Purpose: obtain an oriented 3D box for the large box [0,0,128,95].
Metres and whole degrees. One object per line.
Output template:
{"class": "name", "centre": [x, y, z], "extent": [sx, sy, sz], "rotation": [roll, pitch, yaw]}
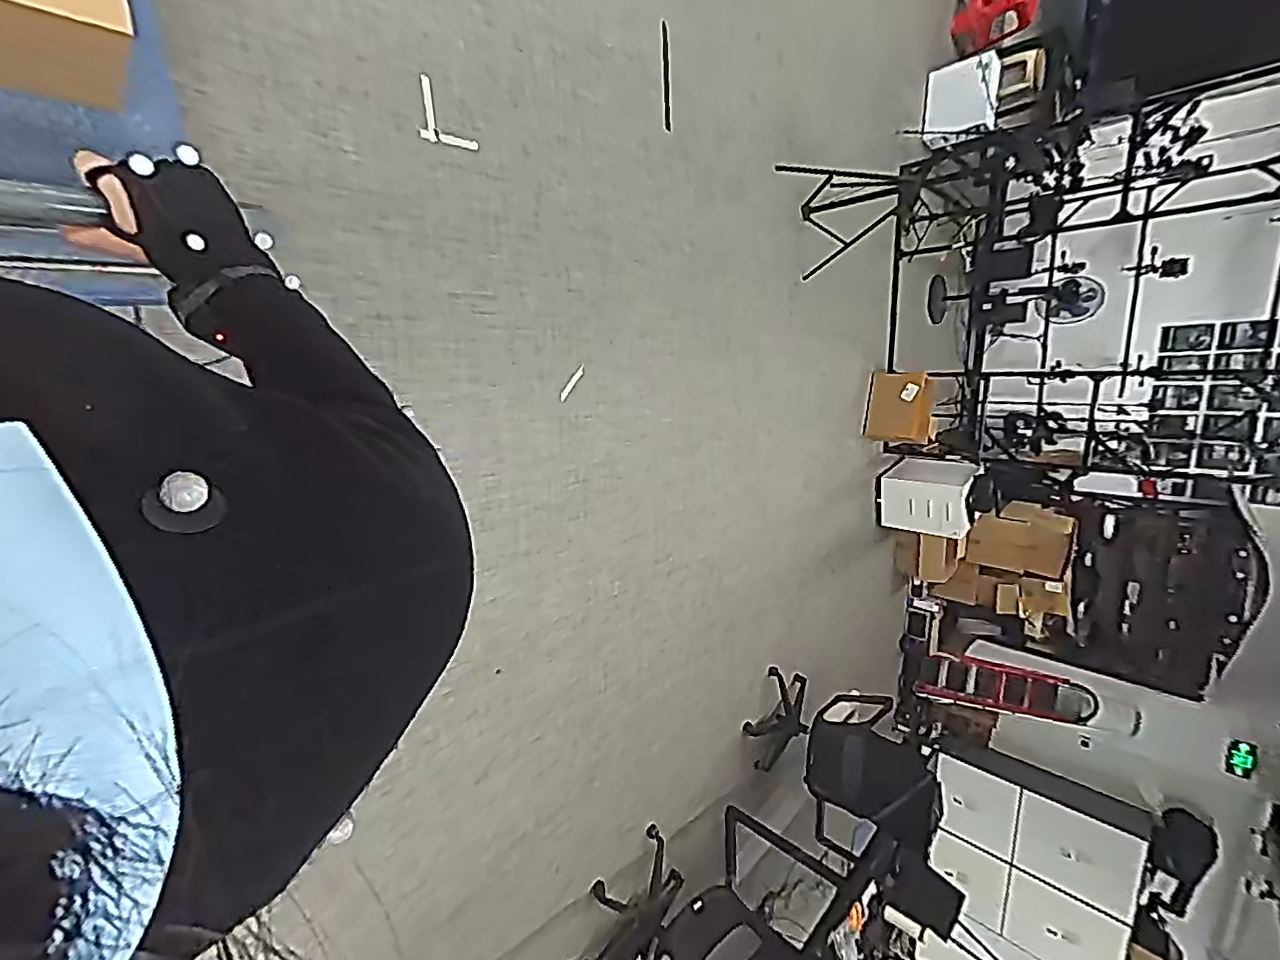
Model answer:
{"class": "large box", "centre": [-0.943, -0.746, 0.663], "extent": [0.408, 0.320, 0.320], "rotation": [-15, 108, -43]}
